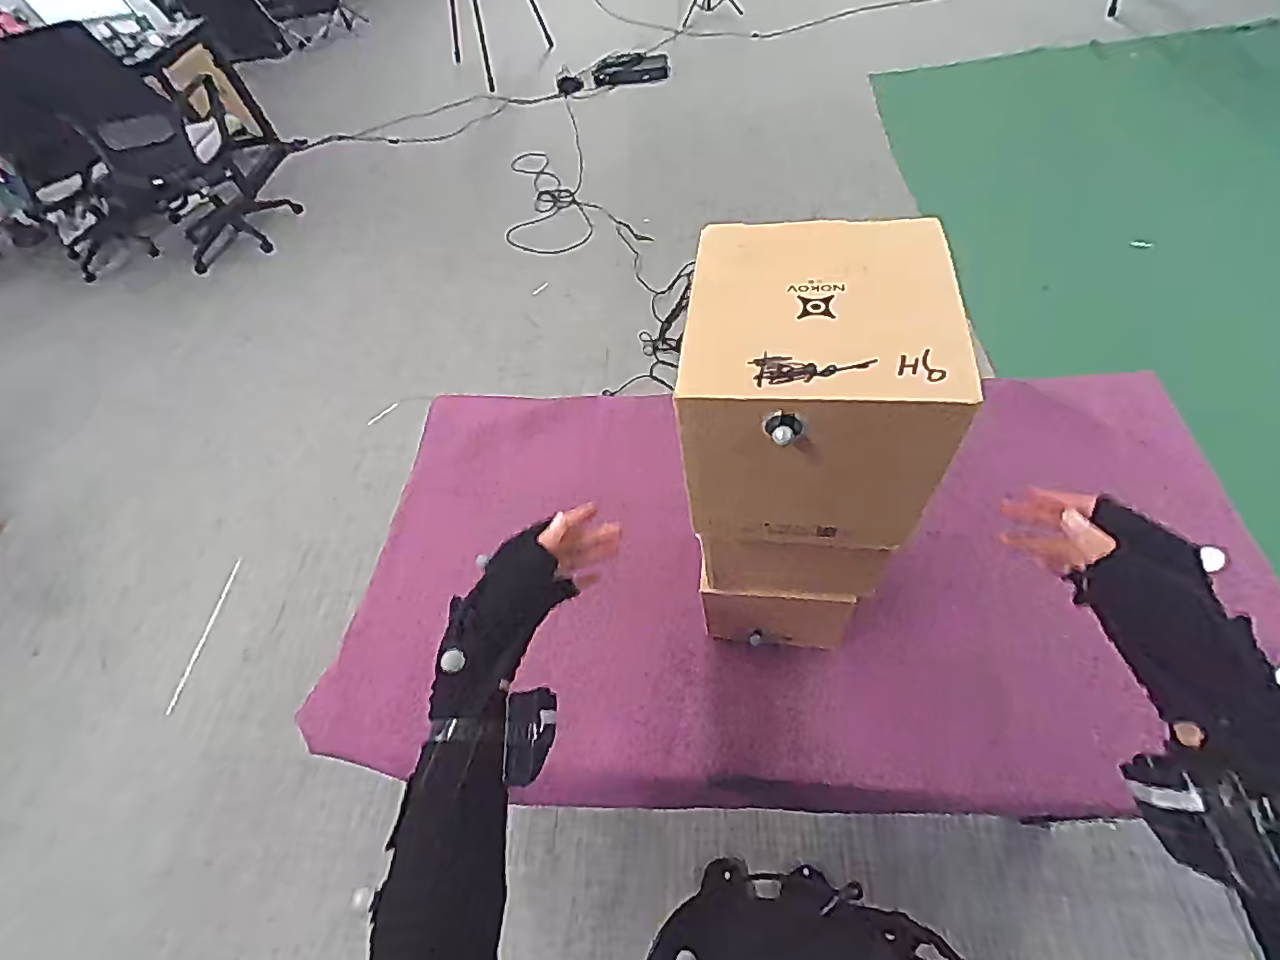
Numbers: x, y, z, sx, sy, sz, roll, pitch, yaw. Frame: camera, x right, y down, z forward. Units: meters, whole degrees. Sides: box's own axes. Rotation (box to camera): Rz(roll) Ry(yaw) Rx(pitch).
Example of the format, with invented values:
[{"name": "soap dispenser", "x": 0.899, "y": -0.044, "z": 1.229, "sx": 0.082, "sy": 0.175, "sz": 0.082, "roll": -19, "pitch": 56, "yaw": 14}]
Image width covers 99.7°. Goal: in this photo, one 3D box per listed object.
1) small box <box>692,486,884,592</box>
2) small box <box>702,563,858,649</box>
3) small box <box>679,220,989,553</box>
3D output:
[{"name": "small box", "x": 0.153, "y": 0.006, "z": 0.552, "sx": 0.179, "sy": 0.176, "sz": 0.168, "roll": 1, "pitch": 56, "yaw": 11}, {"name": "small box", "x": 0.171, "y": 0.097, "z": 0.685, "sx": 0.168, "sy": 0.176, "sz": 0.179, "roll": 2, "pitch": 57, "yaw": 12}, {"name": "small box", "x": 0.127, "y": -0.066, "z": 0.406, "sx": 0.168, "sy": 0.176, "sz": 0.179, "roll": 3, "pitch": 56, "yaw": 13}]
